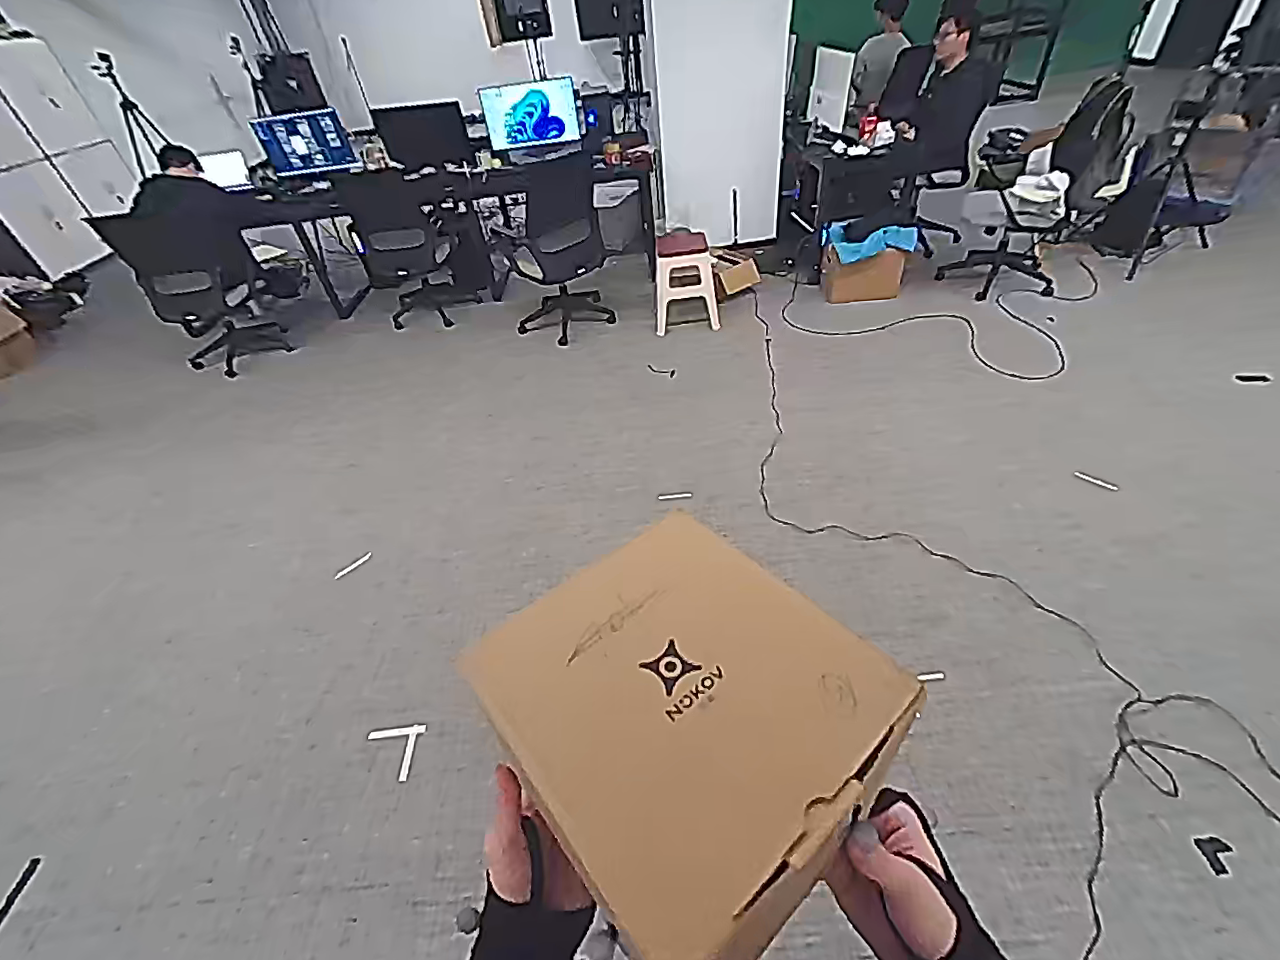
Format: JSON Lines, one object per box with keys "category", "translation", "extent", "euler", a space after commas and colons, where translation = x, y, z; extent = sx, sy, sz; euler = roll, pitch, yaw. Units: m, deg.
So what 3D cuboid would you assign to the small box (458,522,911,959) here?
{"category": "small box", "translation": [0.024, 0.165, 0.329], "extent": [0.168, 0.176, 0.179], "euler": [-33, 46, -28]}
